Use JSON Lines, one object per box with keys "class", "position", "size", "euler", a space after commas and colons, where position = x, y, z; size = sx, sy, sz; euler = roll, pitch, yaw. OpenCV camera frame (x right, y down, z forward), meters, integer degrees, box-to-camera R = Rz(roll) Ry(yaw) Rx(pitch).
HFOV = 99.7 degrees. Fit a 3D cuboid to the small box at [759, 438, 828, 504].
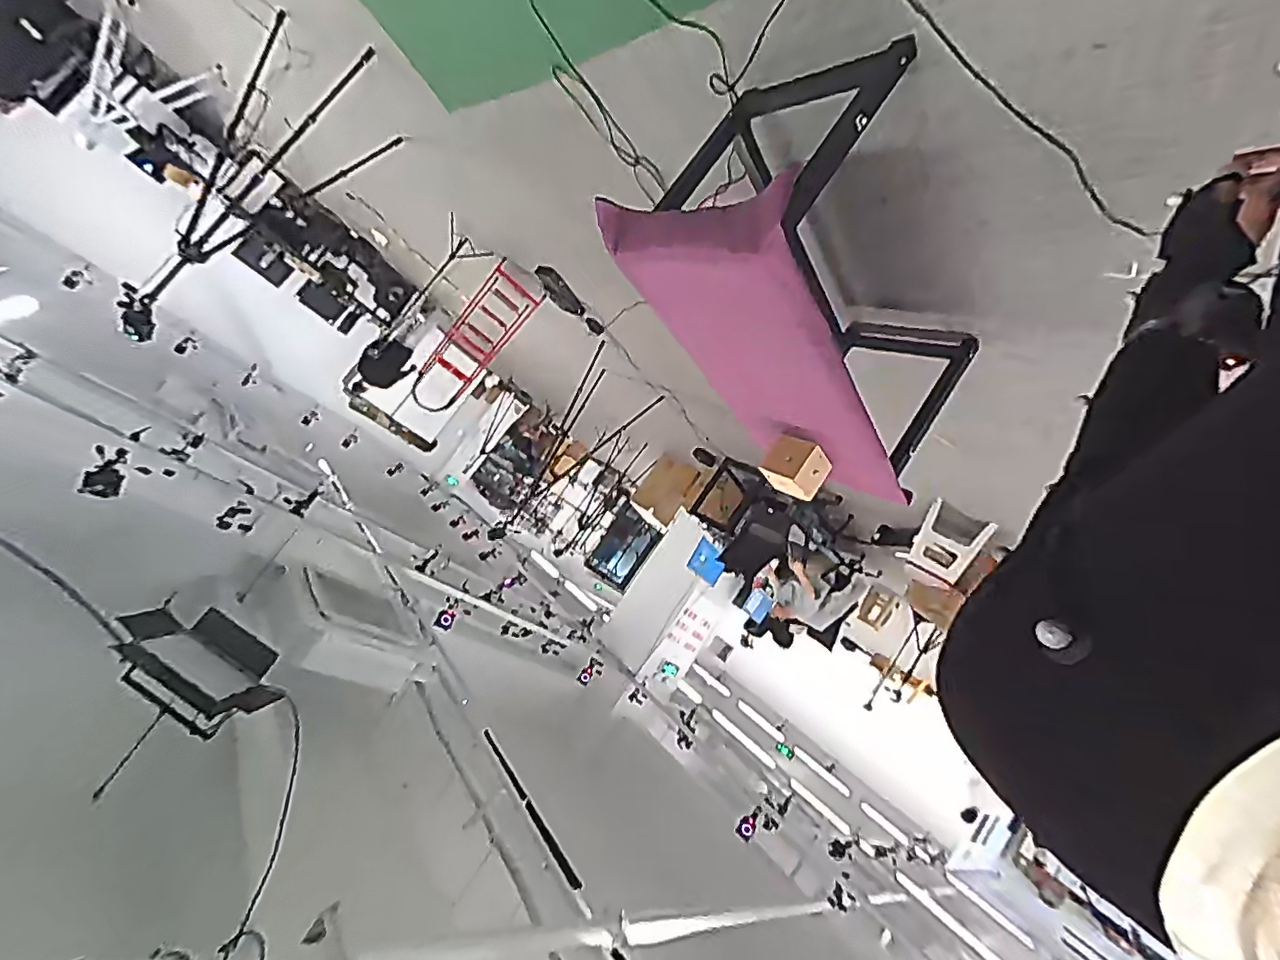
{"class": "small box", "position": [0.594, -0.039, 2.063], "size": [0.179, 0.176, 0.168], "euler": [26, 167, 48]}
